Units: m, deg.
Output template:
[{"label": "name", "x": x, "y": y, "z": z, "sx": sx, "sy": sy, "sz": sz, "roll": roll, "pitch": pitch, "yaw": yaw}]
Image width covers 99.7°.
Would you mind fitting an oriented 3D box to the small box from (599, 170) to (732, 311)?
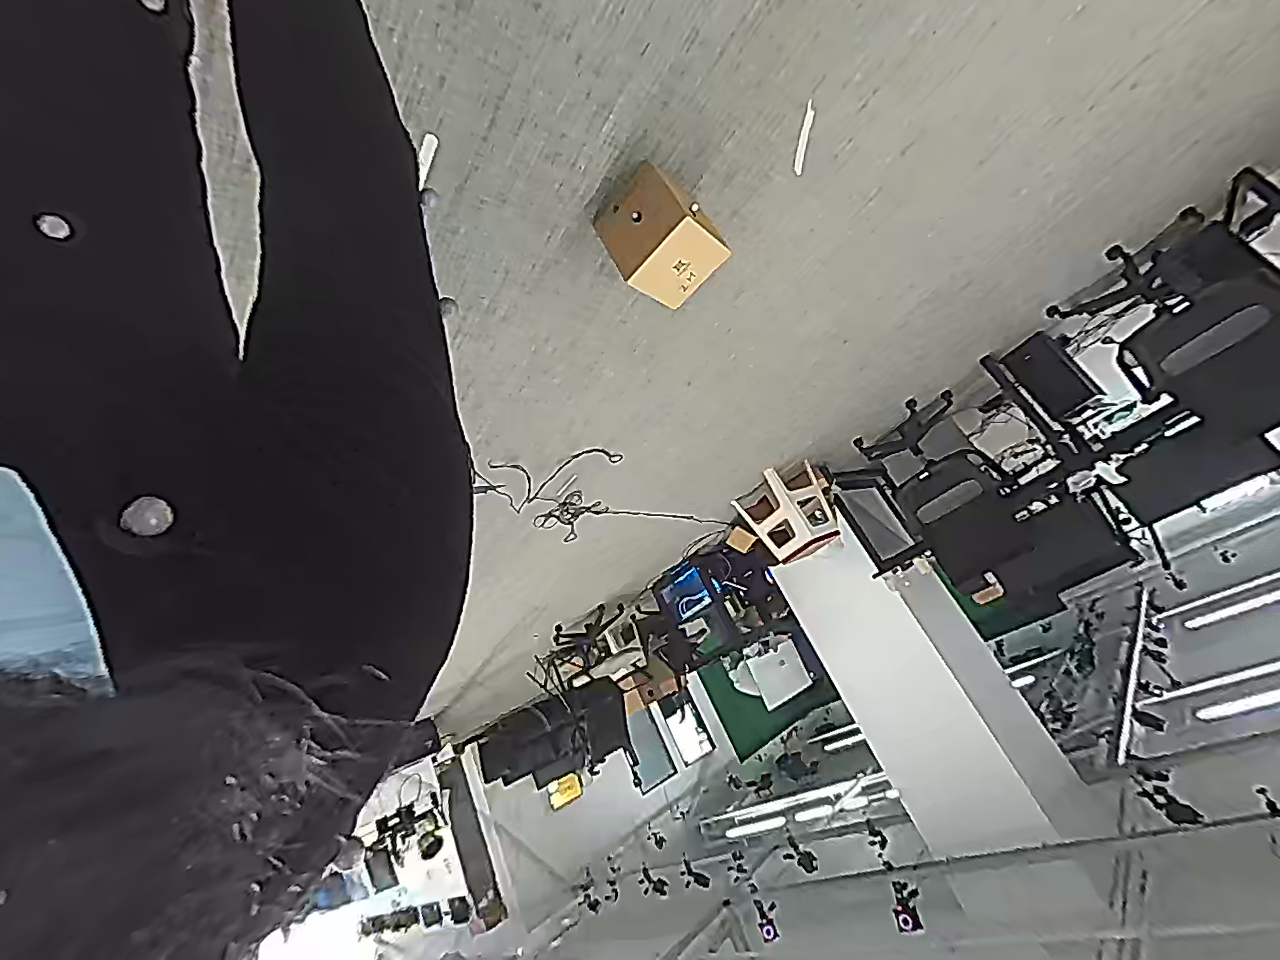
[{"label": "small box", "x": 0.047, "y": -0.478, "z": 1.082, "sx": 0.168, "sy": 0.176, "sz": 0.179, "roll": -39, "pitch": 156, "yaw": 28}]
